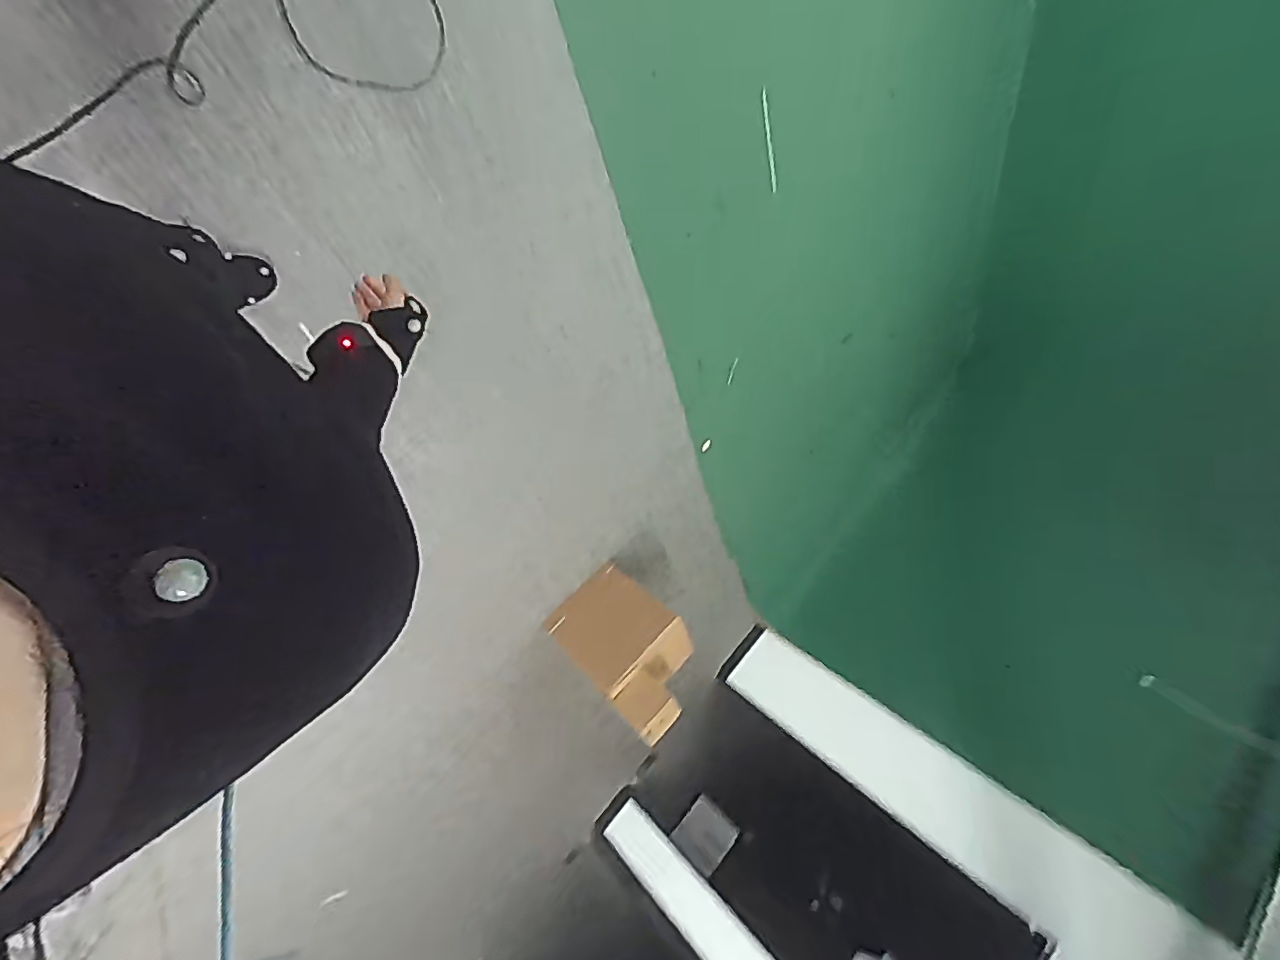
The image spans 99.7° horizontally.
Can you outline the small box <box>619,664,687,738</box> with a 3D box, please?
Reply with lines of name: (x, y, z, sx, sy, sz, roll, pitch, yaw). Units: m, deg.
small box: (0.049, 0.846, 2.082, 0.179, 0.176, 0.168, -44, 137, -19)
